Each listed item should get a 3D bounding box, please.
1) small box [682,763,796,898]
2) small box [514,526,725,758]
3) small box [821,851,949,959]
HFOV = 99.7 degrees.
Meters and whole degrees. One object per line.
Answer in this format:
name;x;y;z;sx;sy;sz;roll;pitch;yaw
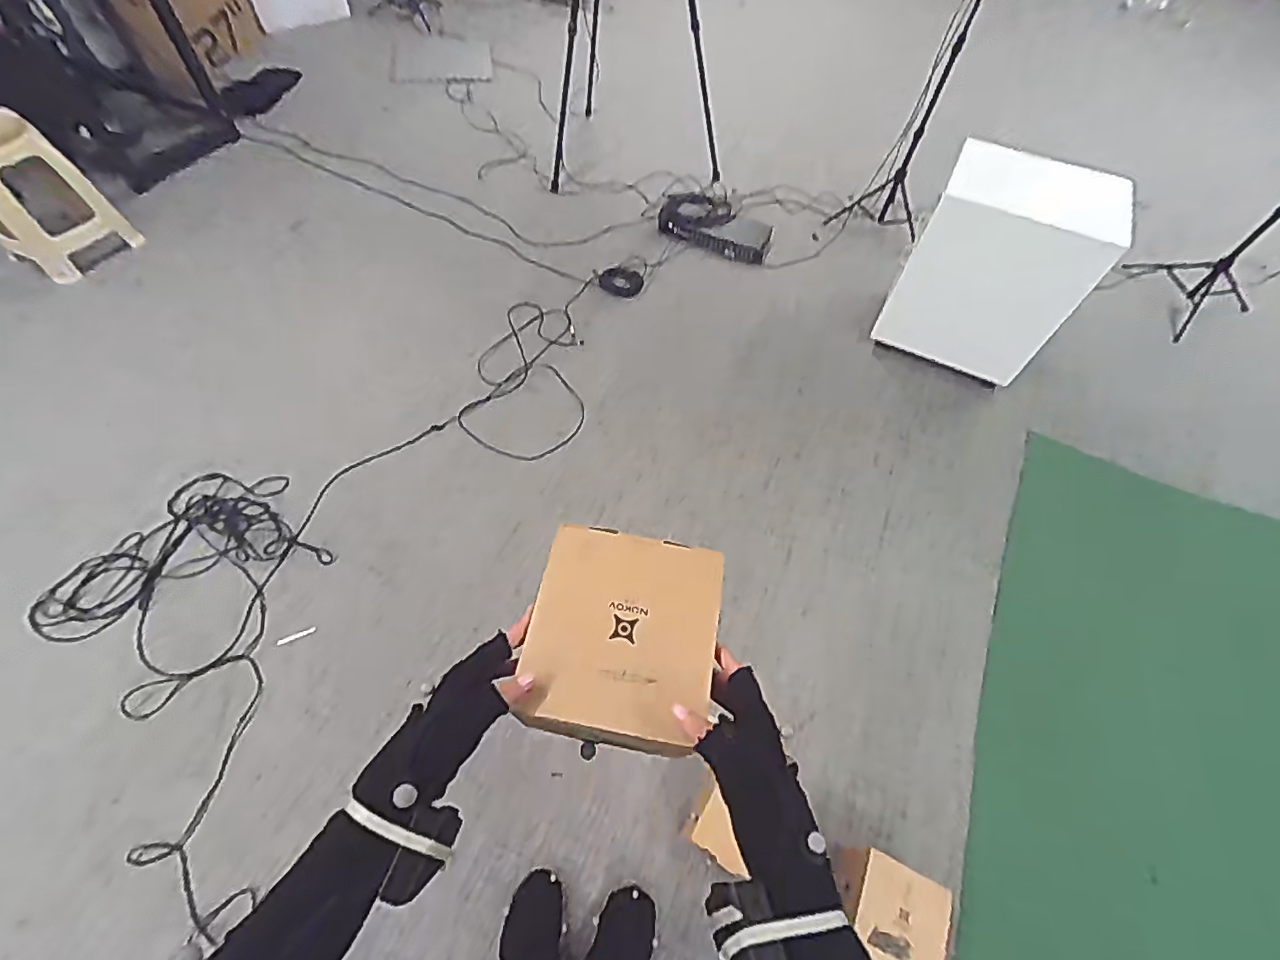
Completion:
small box;0.203;0.741;1.154;0.168;0.176;0.179;29;60;14
small box;-0.016;0.169;0.545;0.168;0.176;0.179;9;61;1
small box;0.481;0.879;1.082;0.168;0.176;0.179;25;58;12
